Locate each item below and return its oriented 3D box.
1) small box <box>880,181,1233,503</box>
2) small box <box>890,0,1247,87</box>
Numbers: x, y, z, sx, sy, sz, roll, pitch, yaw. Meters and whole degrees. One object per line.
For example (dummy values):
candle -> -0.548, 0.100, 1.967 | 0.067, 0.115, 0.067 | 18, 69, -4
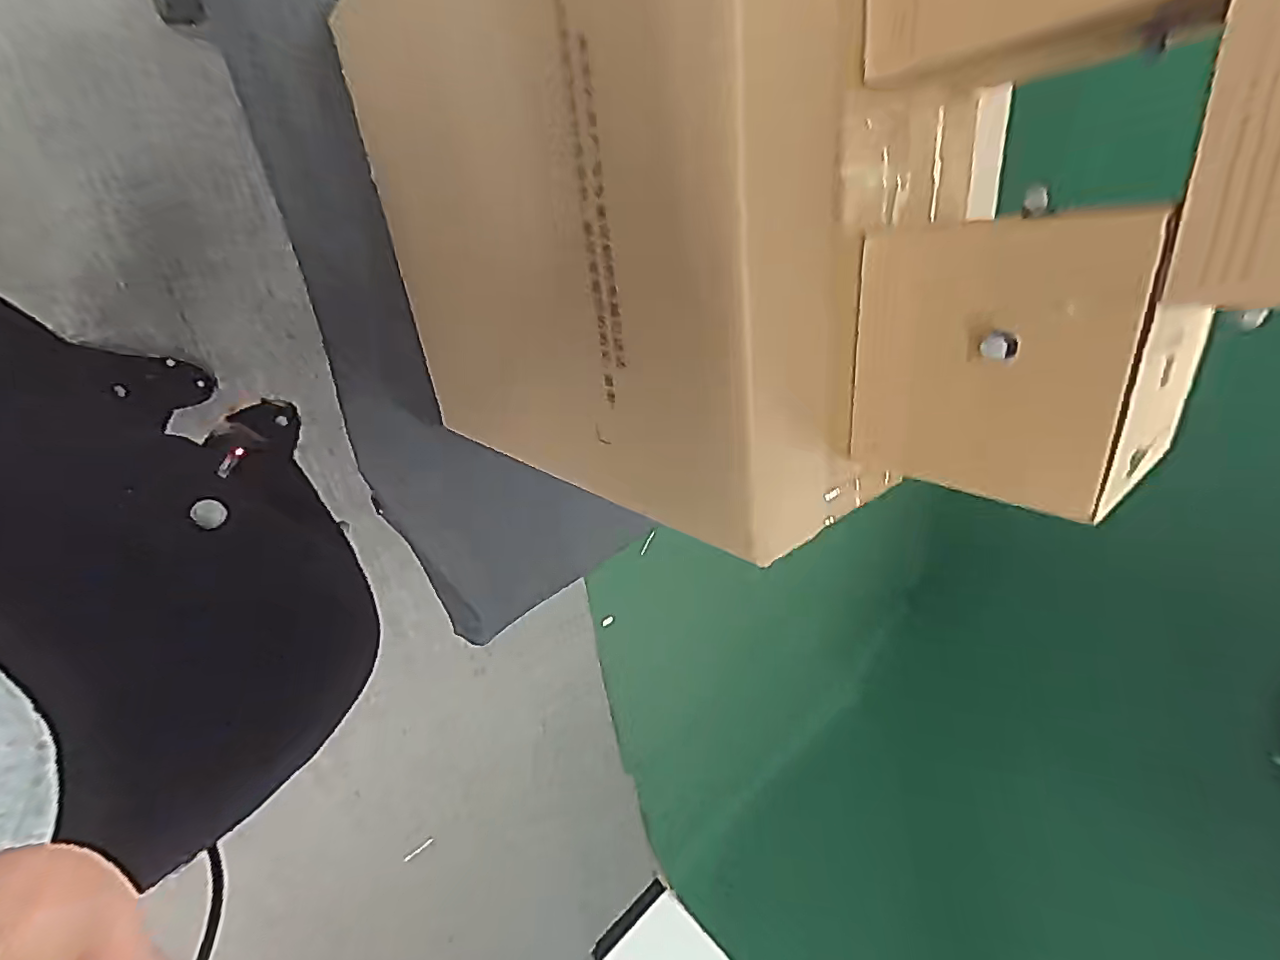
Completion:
small box -> 0.299, -0.106, 0.402 | 0.168, 0.176, 0.179 | -24, 117, -32
small box -> 0.259, -0.337, 0.298 | 0.179, 0.176, 0.168 | -27, 121, -33
